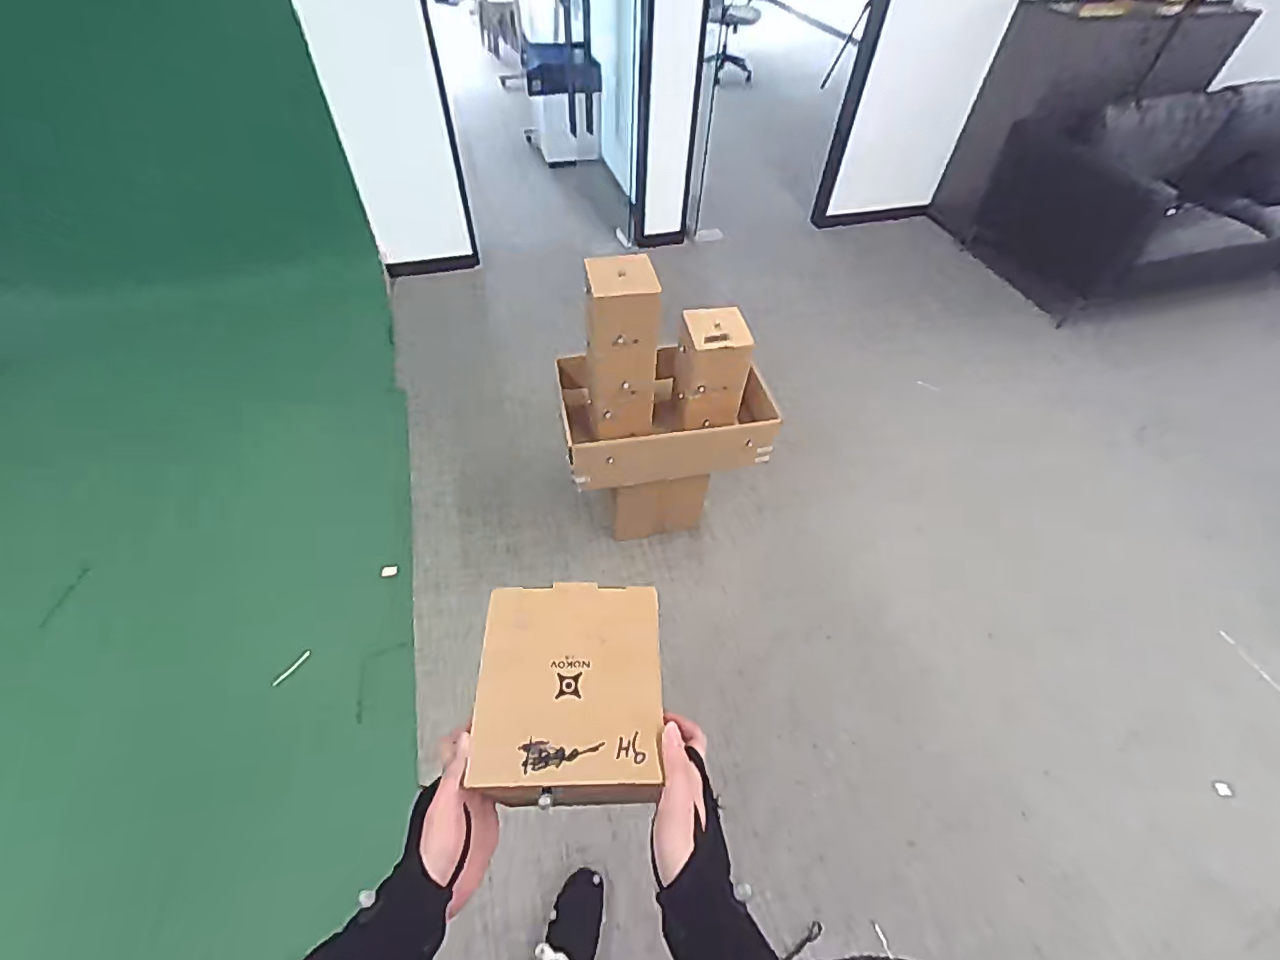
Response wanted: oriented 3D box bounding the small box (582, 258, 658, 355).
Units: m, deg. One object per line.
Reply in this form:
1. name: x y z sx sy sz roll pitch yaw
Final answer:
1. small box: -0.055 -0.440 1.374 0.168 0.176 0.179 -8 51 -9

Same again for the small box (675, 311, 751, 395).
1. small box: 0.200 -0.355 1.531 0.168 0.176 0.179 -6 51 -8

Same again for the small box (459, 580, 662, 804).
1. small box: -0.067 0.216 0.545 0.168 0.176 0.179 0 54 -1

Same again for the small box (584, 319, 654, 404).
1. small box: -0.063 -0.336 1.499 0.168 0.176 0.179 -8 51 -9

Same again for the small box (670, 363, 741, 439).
1. small box: 0.192 -0.249 1.658 0.168 0.176 0.179 -7 52 -9
